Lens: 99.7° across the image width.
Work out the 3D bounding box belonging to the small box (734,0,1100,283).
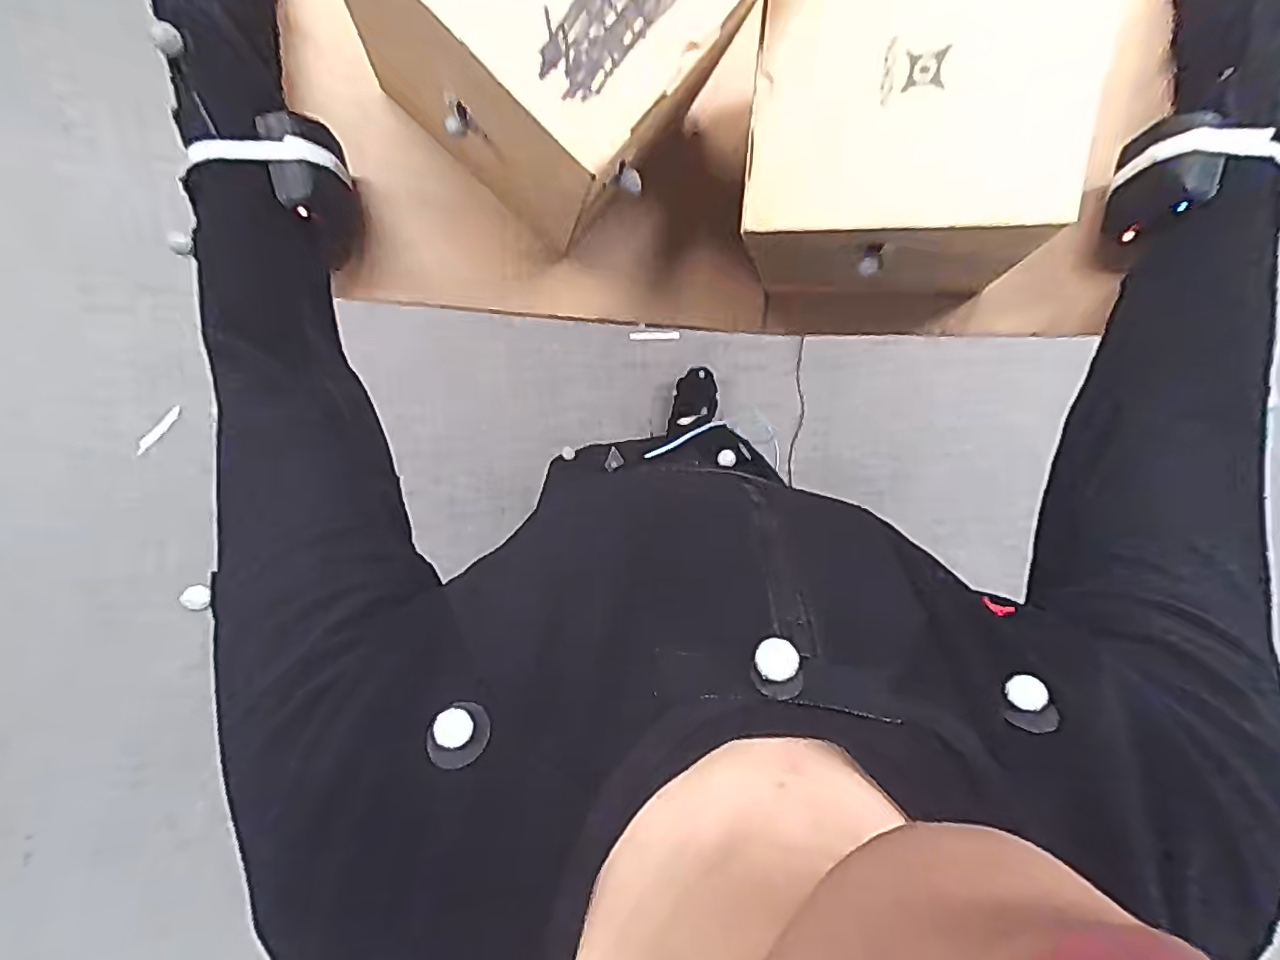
[{"bbox_3d":[0.173,-0.241,0.376,0.179,0.176,0.168,8,99,18],"label":"small box"}]
